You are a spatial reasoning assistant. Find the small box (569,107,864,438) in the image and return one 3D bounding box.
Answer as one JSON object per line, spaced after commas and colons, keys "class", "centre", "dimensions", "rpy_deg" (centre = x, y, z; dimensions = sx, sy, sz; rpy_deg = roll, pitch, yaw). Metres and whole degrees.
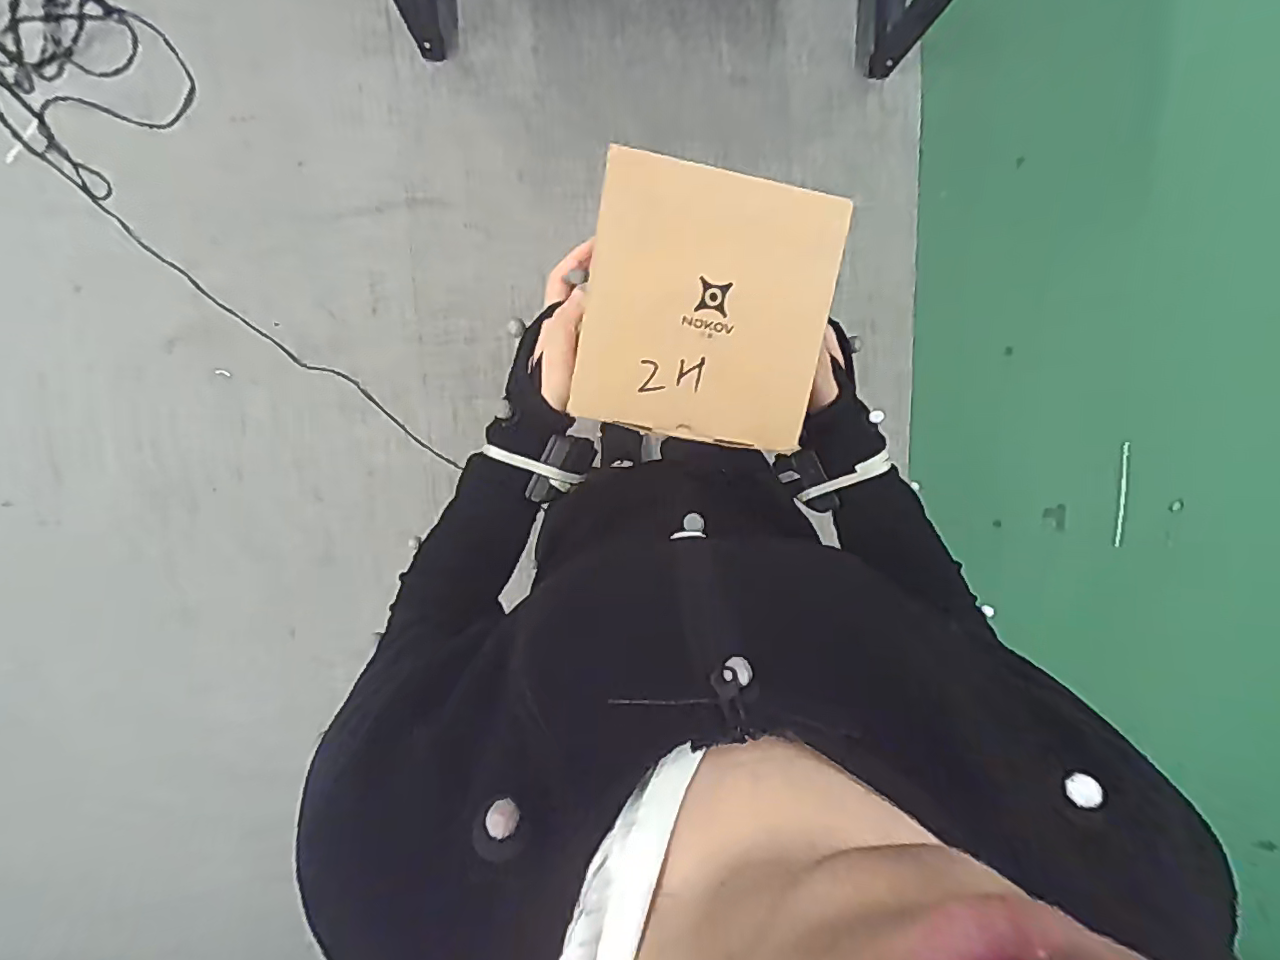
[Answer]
{"class": "small box", "centre": [0.041, -0.139, 0.424], "dimensions": [0.168, 0.176, 0.179], "rpy_deg": [10, 99, -7]}
